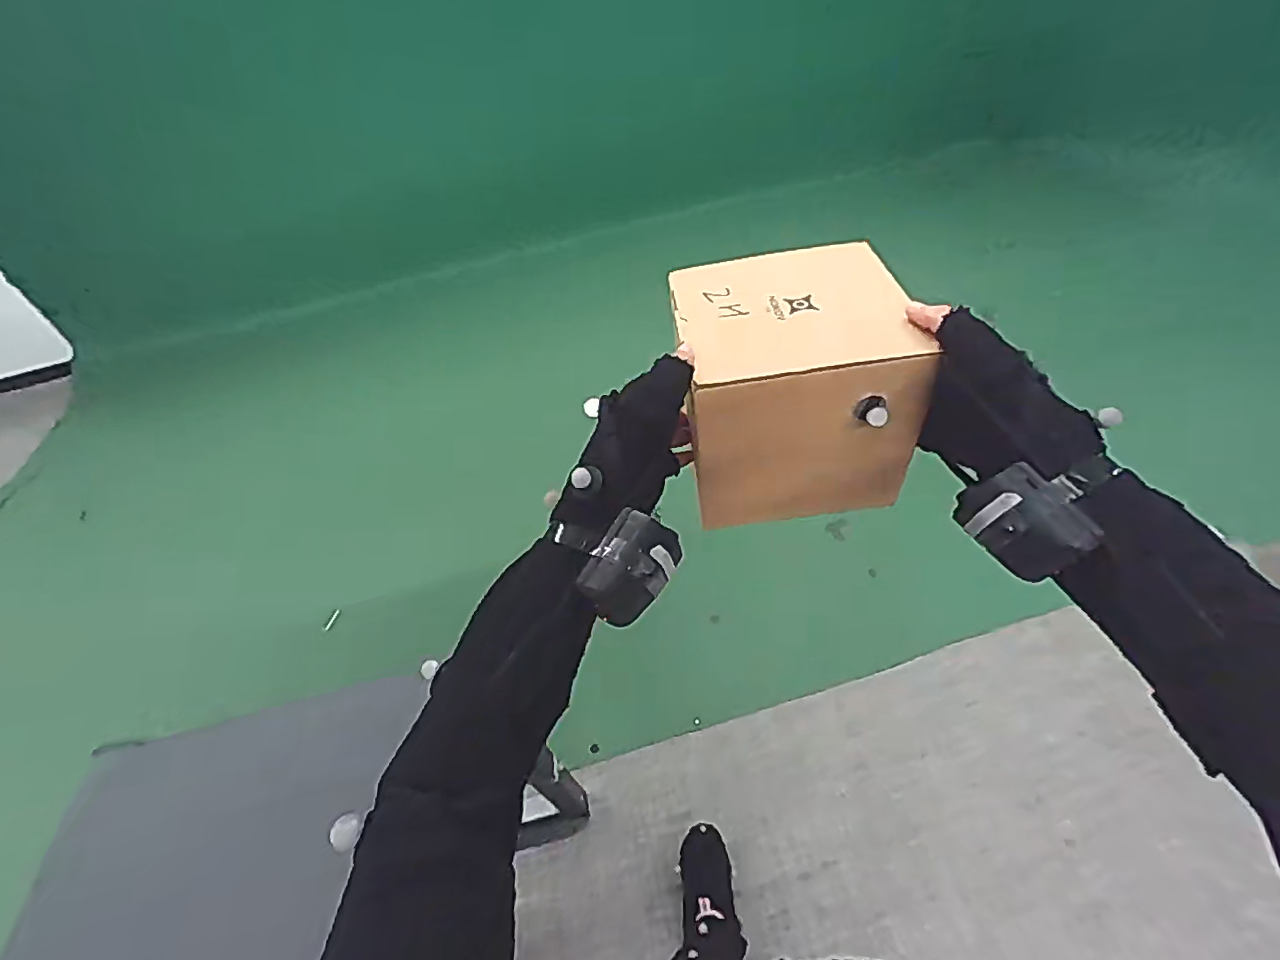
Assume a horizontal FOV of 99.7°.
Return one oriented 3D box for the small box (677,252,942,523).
[{"bbox_3d":[0.132,-0.079,0.492,0.179,0.176,0.168,-8,47,3],"label":"small box"}]
